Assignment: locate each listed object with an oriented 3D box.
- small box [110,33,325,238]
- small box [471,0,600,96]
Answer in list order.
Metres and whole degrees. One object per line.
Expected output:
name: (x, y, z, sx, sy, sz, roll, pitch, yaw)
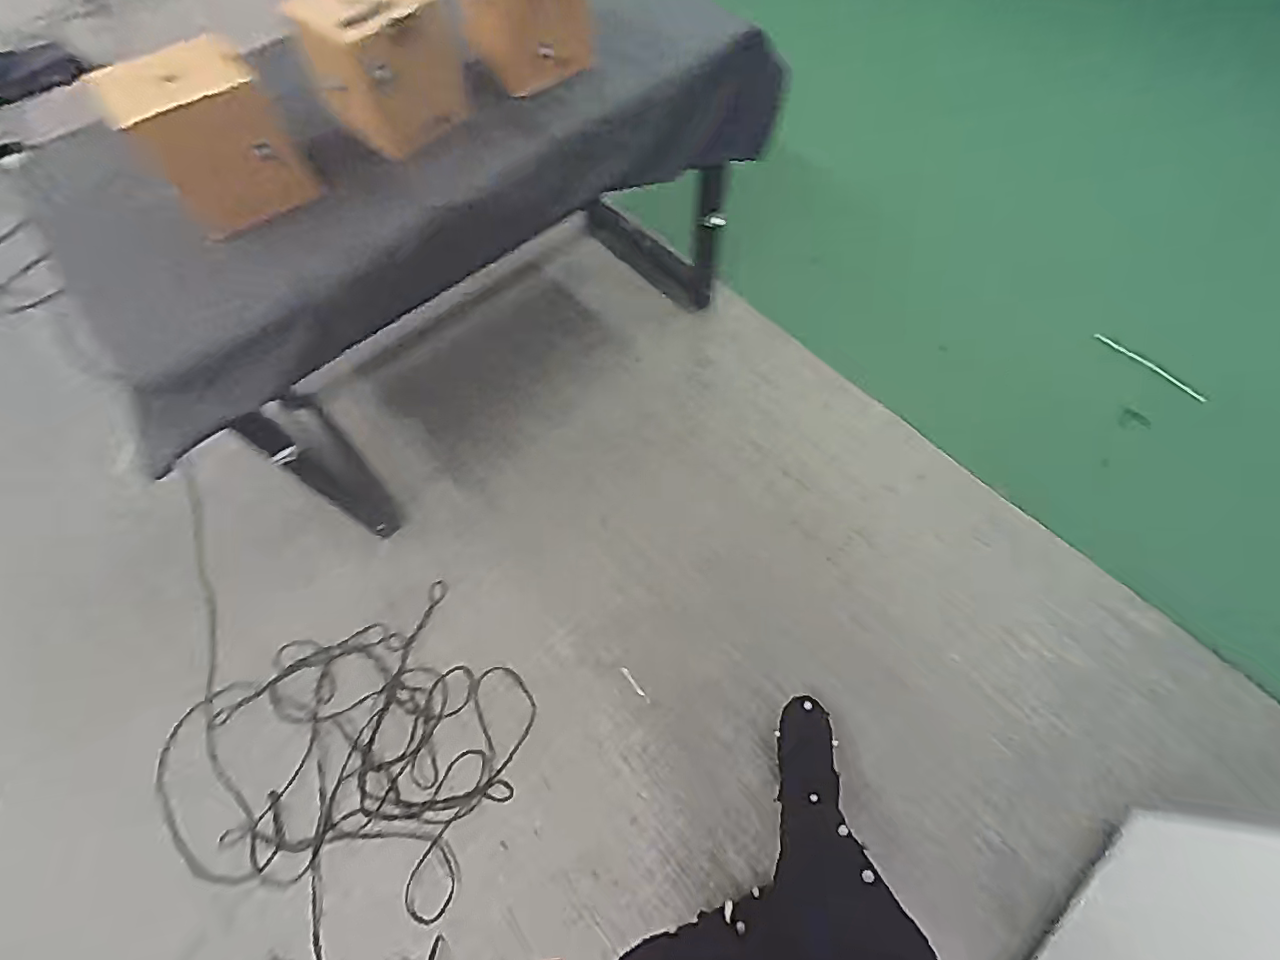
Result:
small box: (-0.601, -0.500, 0.795, 0.179, 0.176, 0.168, -34, 66, -13)
small box: (-0.185, -0.811, 0.935, 0.168, 0.176, 0.179, -33, 68, -14)
